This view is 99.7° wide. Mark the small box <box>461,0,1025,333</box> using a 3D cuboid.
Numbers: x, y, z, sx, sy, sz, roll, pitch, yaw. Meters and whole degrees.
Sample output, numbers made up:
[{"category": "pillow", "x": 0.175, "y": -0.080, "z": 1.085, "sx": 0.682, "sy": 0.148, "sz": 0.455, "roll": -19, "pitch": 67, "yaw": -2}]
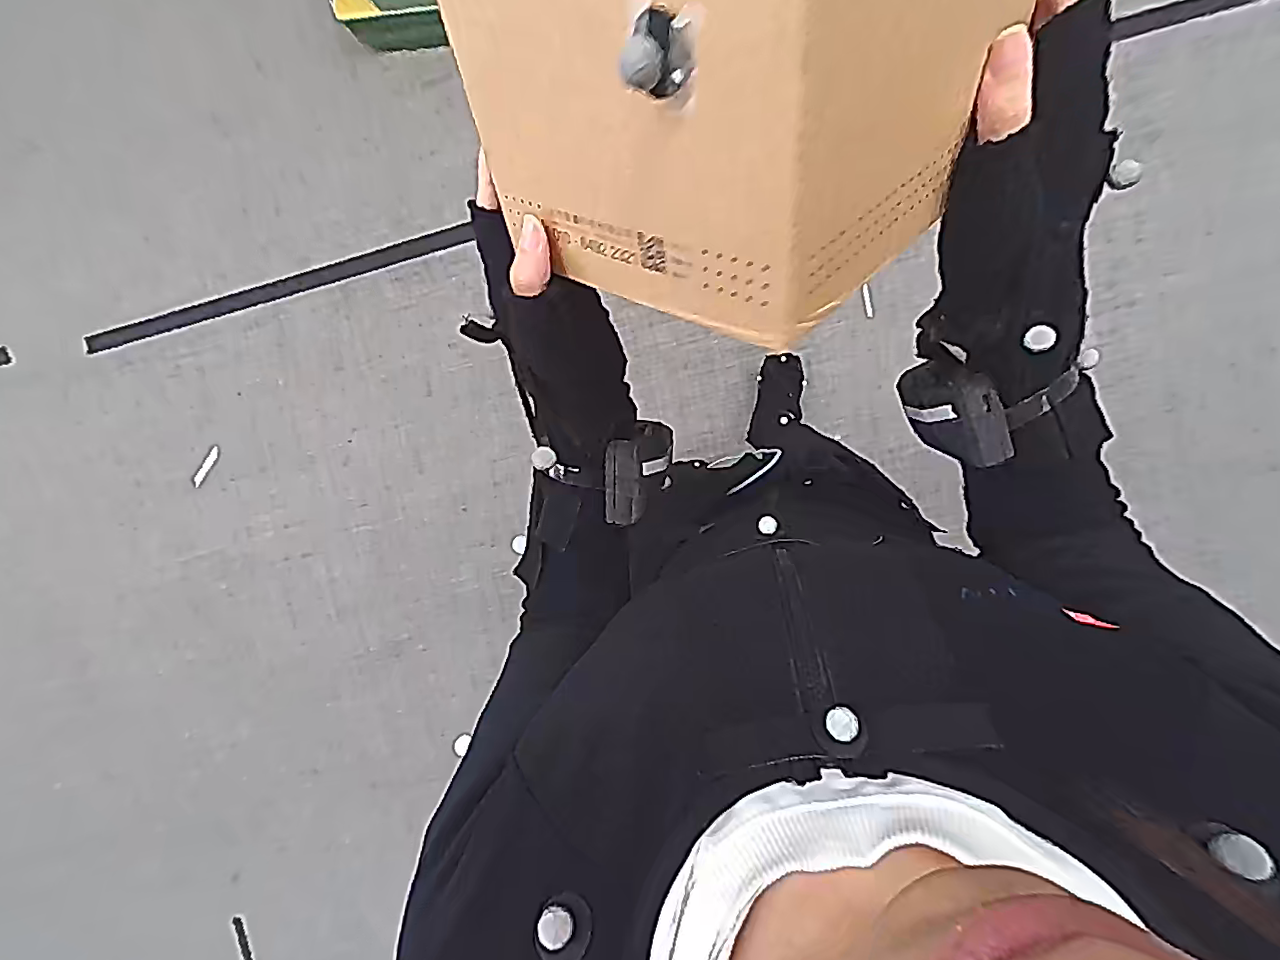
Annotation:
[{"category": "small box", "x": 0.046, "y": -0.186, "z": 0.223, "sx": 0.168, "sy": 0.176, "sz": 0.179, "roll": 30, "pitch": 59, "yaw": 32}]
